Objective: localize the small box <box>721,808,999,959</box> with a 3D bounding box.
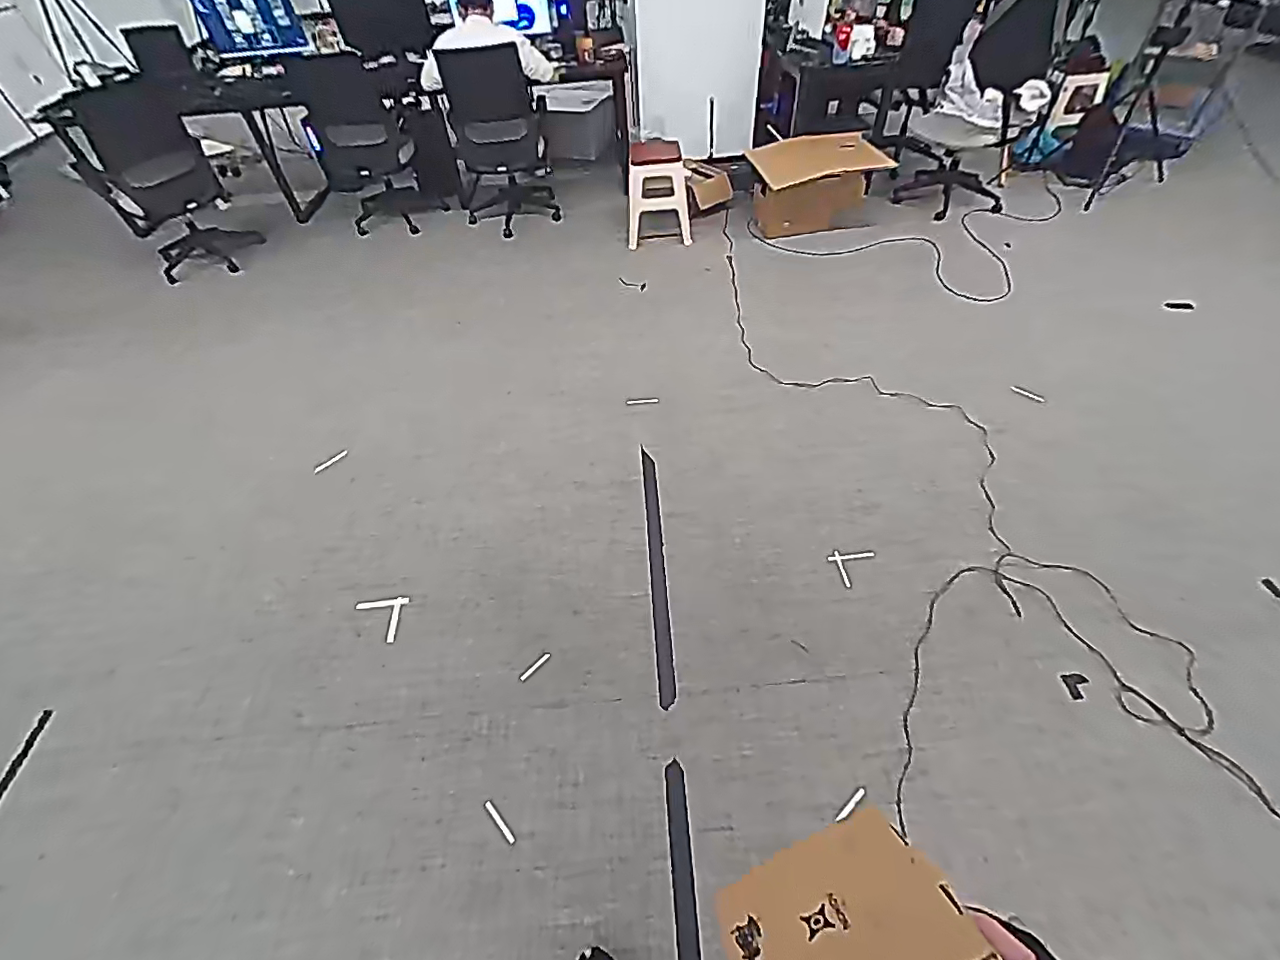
[{"bbox_3d":[0.192,0.423,0.435,0.179,0.168,0.176,-27,89,-3],"label":"small box"}]
